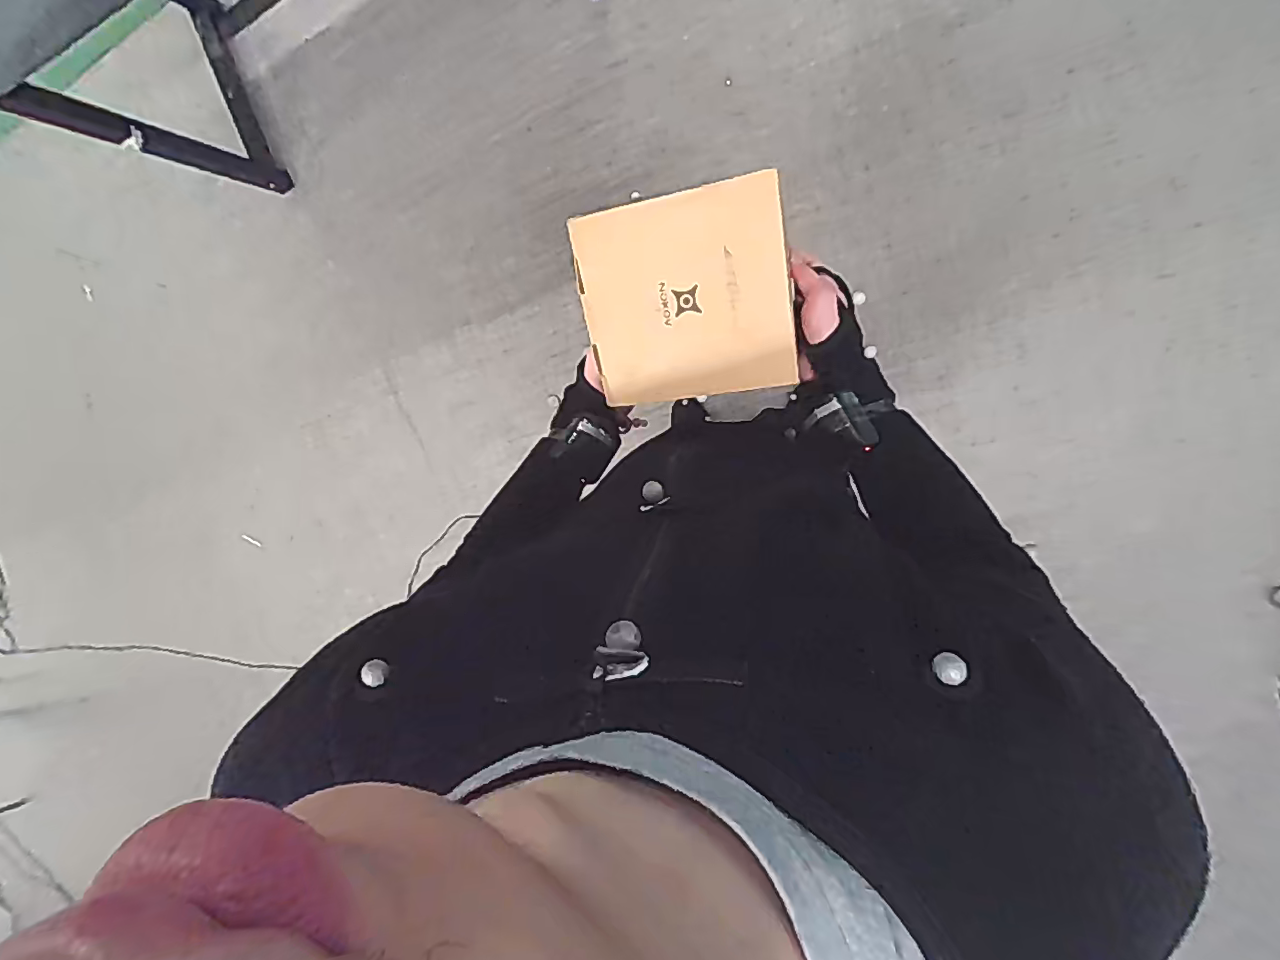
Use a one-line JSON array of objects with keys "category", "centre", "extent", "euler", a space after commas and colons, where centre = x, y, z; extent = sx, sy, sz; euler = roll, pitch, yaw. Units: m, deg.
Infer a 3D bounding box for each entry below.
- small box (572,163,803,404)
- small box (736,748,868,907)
[{"category": "small box", "centre": [0.060, -0.184, 0.523], "extent": [0.179, 0.176, 0.168], "euler": [-7, 112, 18]}, {"category": "small box", "centre": [0.284, 0.602, 0.950], "extent": [0.179, 0.176, 0.168], "euler": [-16, 98, 19]}]
